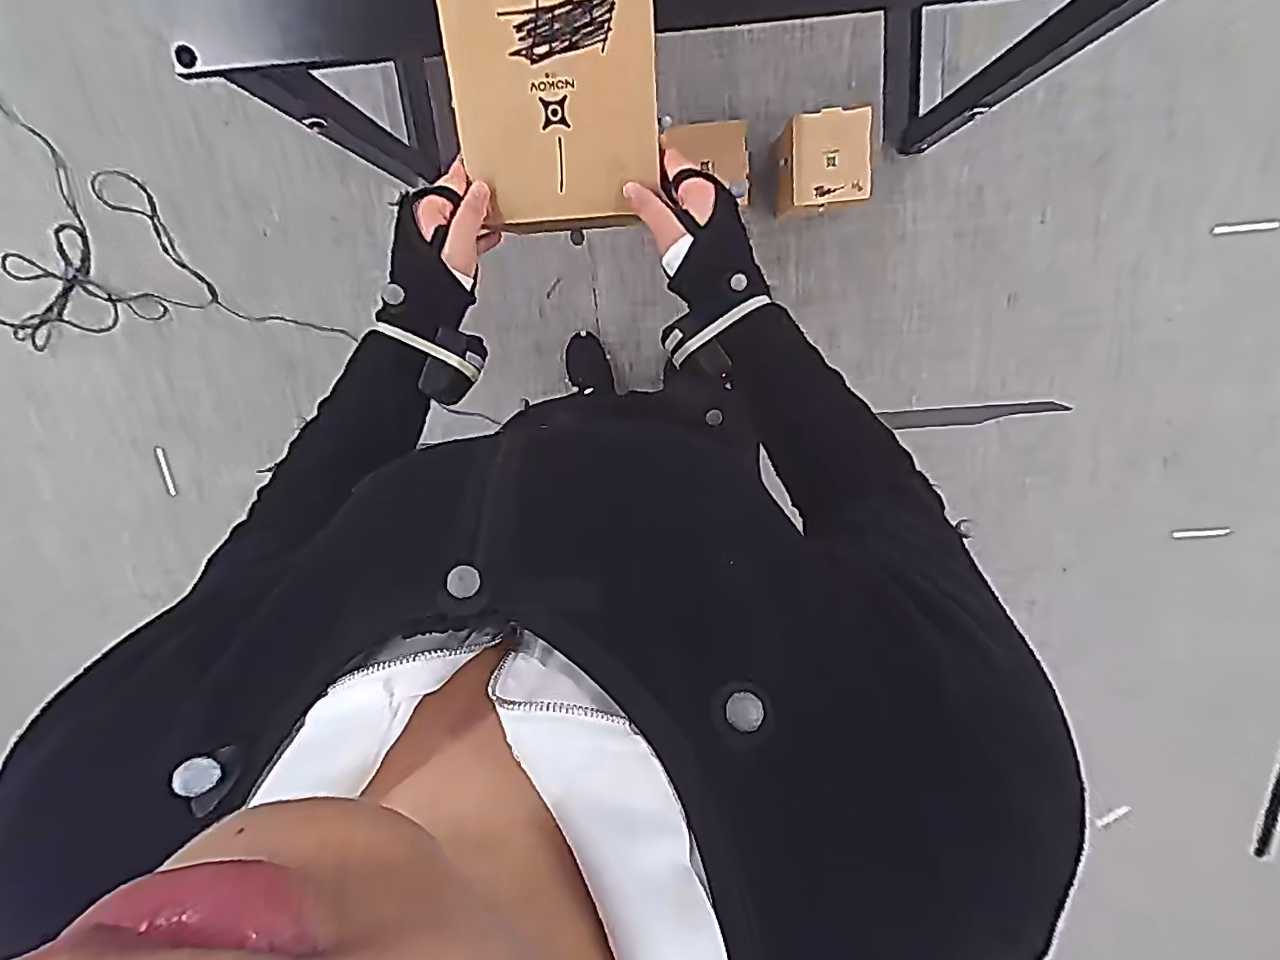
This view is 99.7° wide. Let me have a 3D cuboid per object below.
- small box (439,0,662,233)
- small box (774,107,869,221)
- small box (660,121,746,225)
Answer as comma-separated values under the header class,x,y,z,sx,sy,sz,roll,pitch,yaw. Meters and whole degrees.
class,x,y,z,sx,sy,sz,roll,pitch,yaw
small box,-0.068,-0.337,0.507,0.168,0.176,0.179,-3,112,2
small box,0.401,-0.704,1.220,0.168,0.176,0.179,-5,105,3
small box,0.139,-0.689,1.231,0.179,0.176,0.168,-4,105,3
